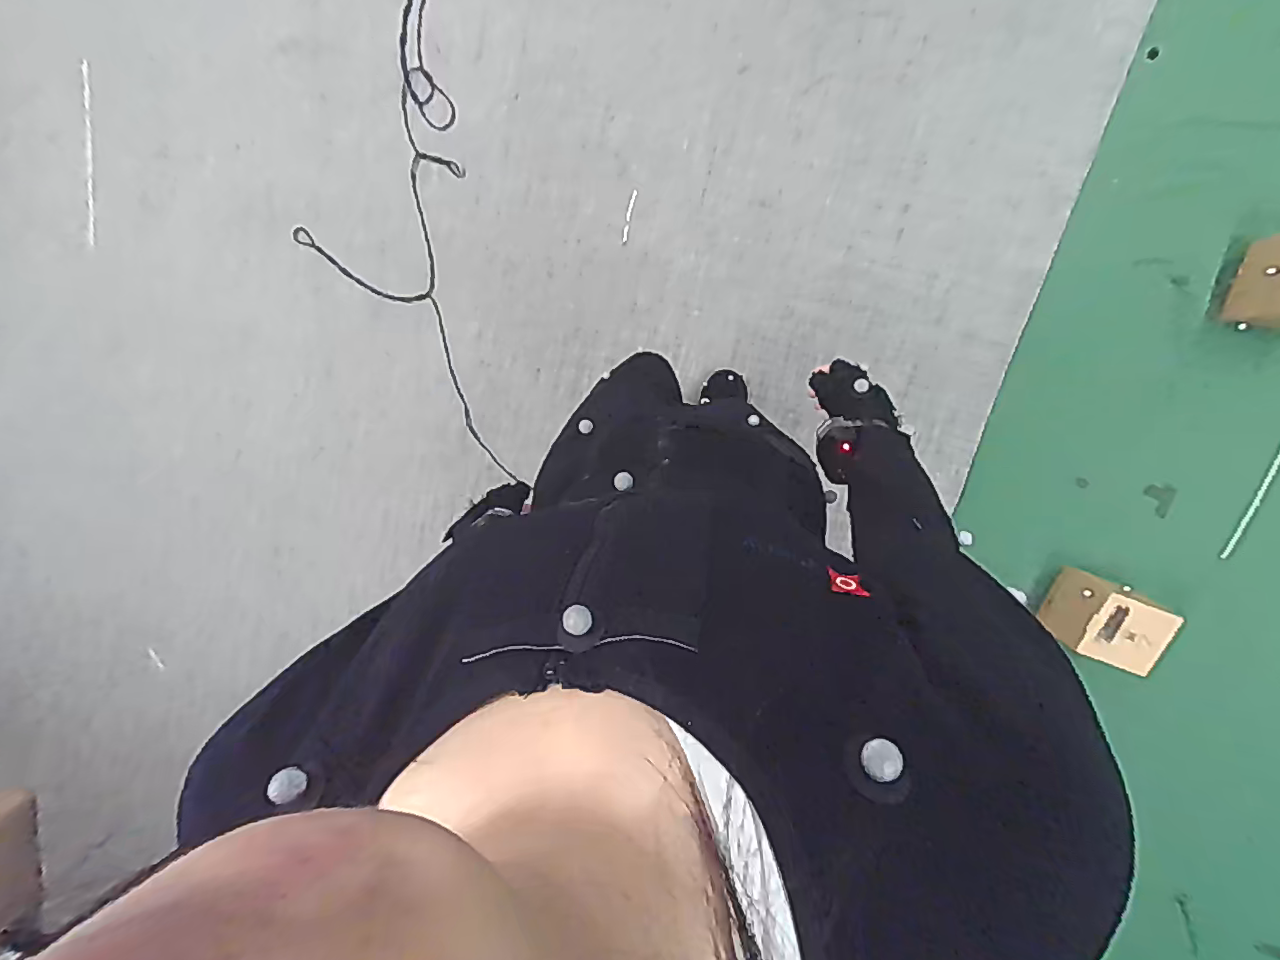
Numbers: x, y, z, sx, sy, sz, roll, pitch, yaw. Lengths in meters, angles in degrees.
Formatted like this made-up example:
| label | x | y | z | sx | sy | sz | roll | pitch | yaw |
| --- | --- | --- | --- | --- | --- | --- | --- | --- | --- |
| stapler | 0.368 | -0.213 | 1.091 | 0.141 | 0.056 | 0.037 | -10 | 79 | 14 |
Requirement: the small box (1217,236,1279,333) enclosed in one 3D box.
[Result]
| label | x | y | z | sx | sy | sz | roll | pitch | yaw |
| --- | --- | --- | --- | --- | --- | --- | --- | --- | --- |
| small box | 1.394 | -0.411 | 1.136 | 0.168 | 0.176 | 0.179 | 12 | 103 | 4 |
